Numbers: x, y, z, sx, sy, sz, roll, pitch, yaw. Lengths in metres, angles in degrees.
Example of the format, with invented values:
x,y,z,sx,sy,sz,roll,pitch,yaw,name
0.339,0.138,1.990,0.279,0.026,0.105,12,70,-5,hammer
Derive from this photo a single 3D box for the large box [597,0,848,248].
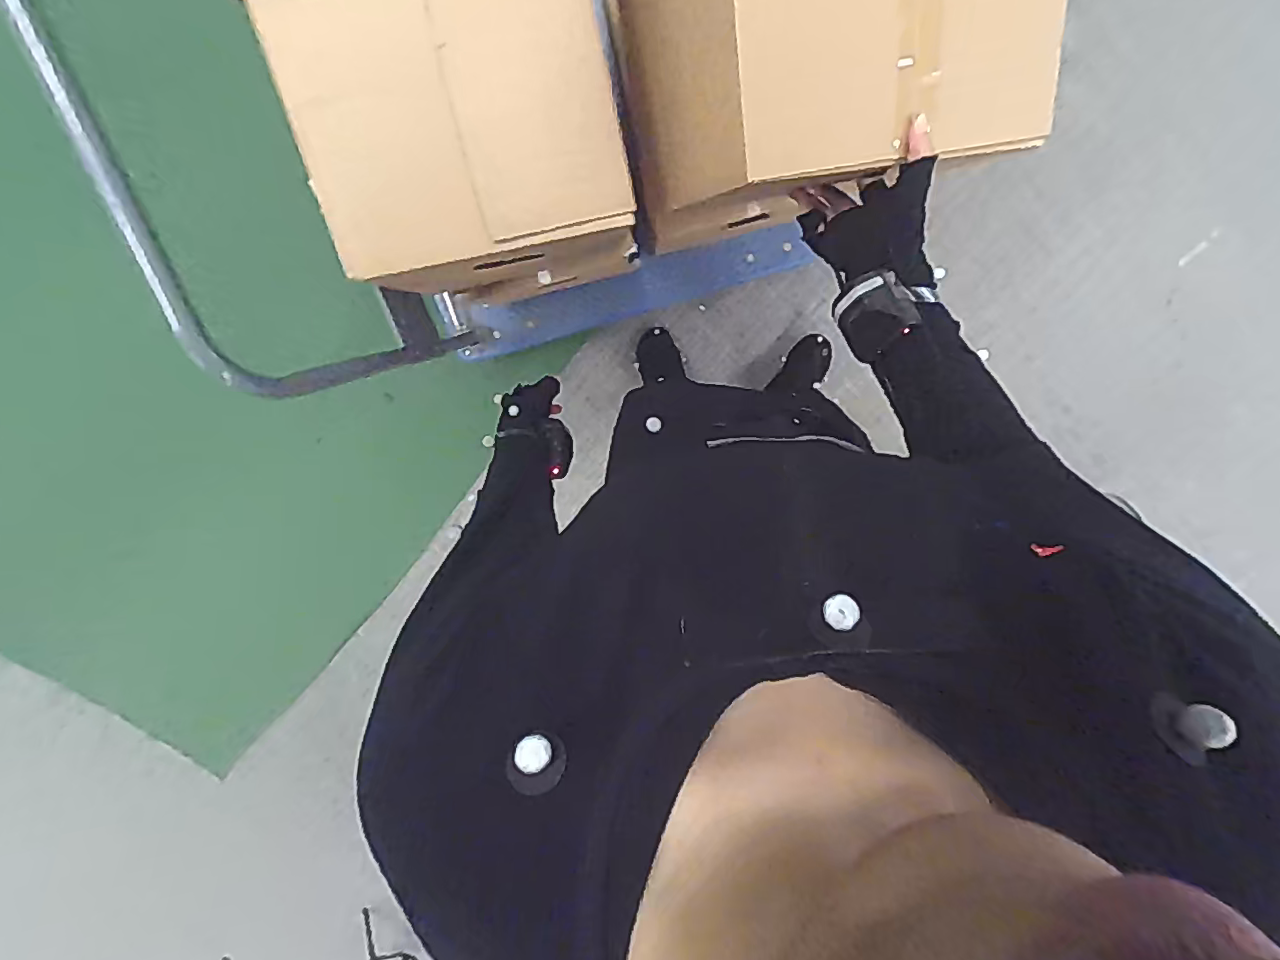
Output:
x,y,z,sx,sy,sz,roll,pitch,yaw,name
0.126,-0.657,0.931,0.320,0.320,0.408,-13,109,6,large box
